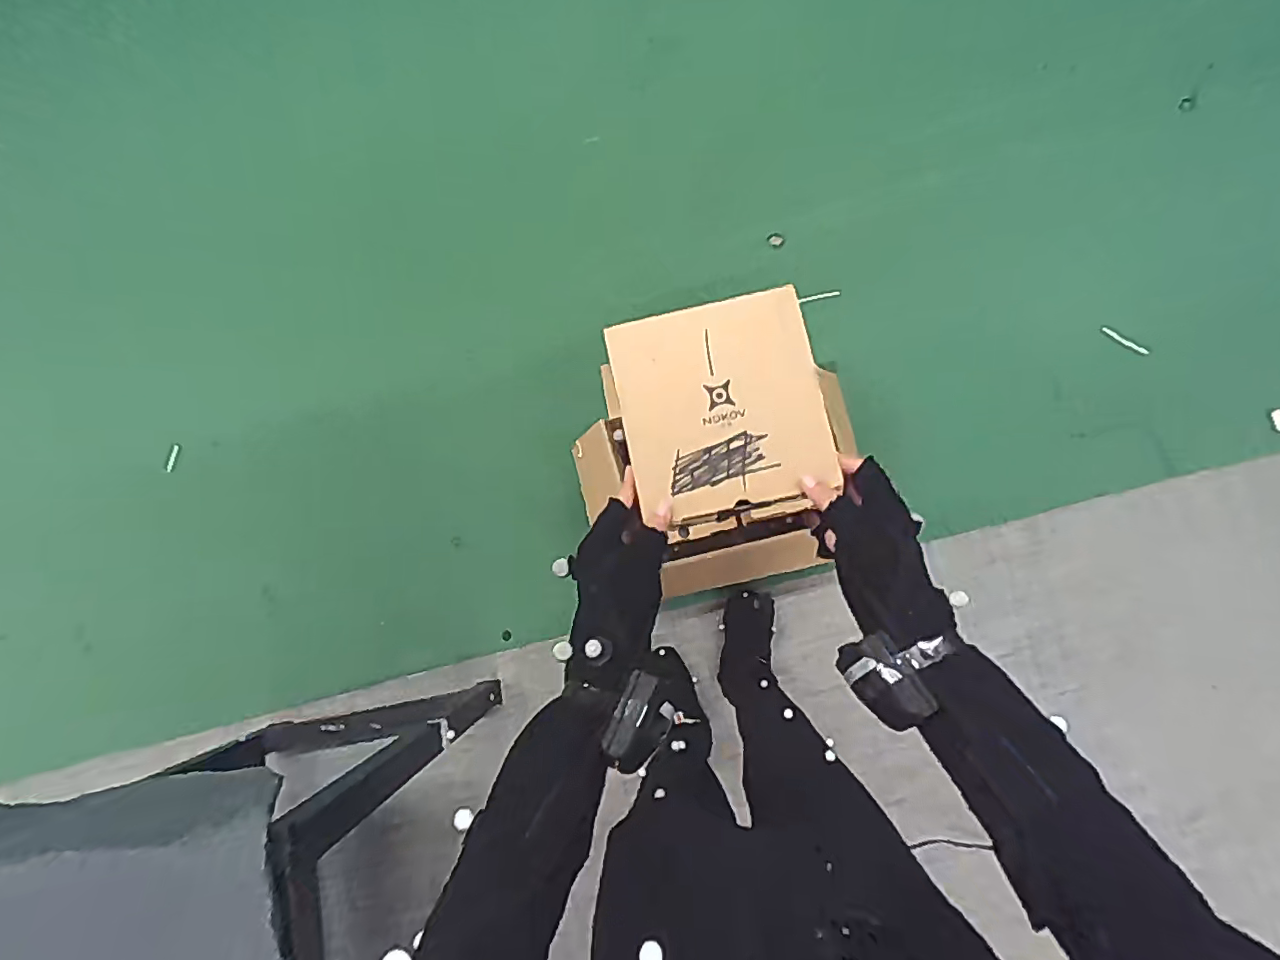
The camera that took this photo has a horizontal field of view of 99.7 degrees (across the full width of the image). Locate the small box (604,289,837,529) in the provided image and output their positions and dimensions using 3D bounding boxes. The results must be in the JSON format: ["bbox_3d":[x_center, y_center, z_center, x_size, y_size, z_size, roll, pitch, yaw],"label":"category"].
[{"bbox_3d":[0.071,-0.053,0.527,0.168,0.176,0.179,-13,83,3],"label":"small box"}]
